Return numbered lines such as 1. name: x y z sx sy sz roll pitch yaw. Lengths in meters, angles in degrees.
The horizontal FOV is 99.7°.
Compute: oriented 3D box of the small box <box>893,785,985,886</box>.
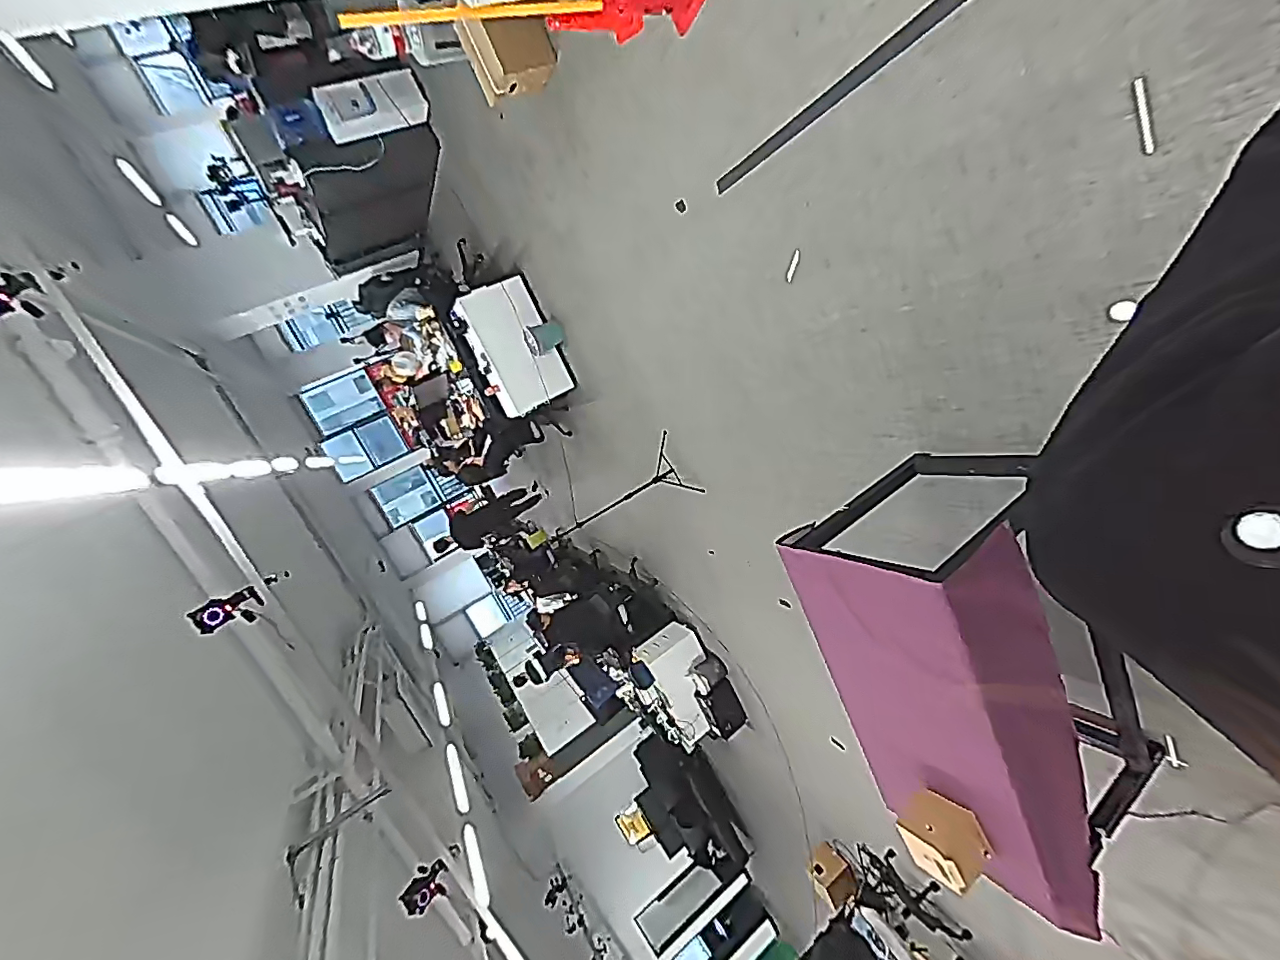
1. small box: 0.948 1.108 1.704 0.168 0.176 0.179 62 160 -6
